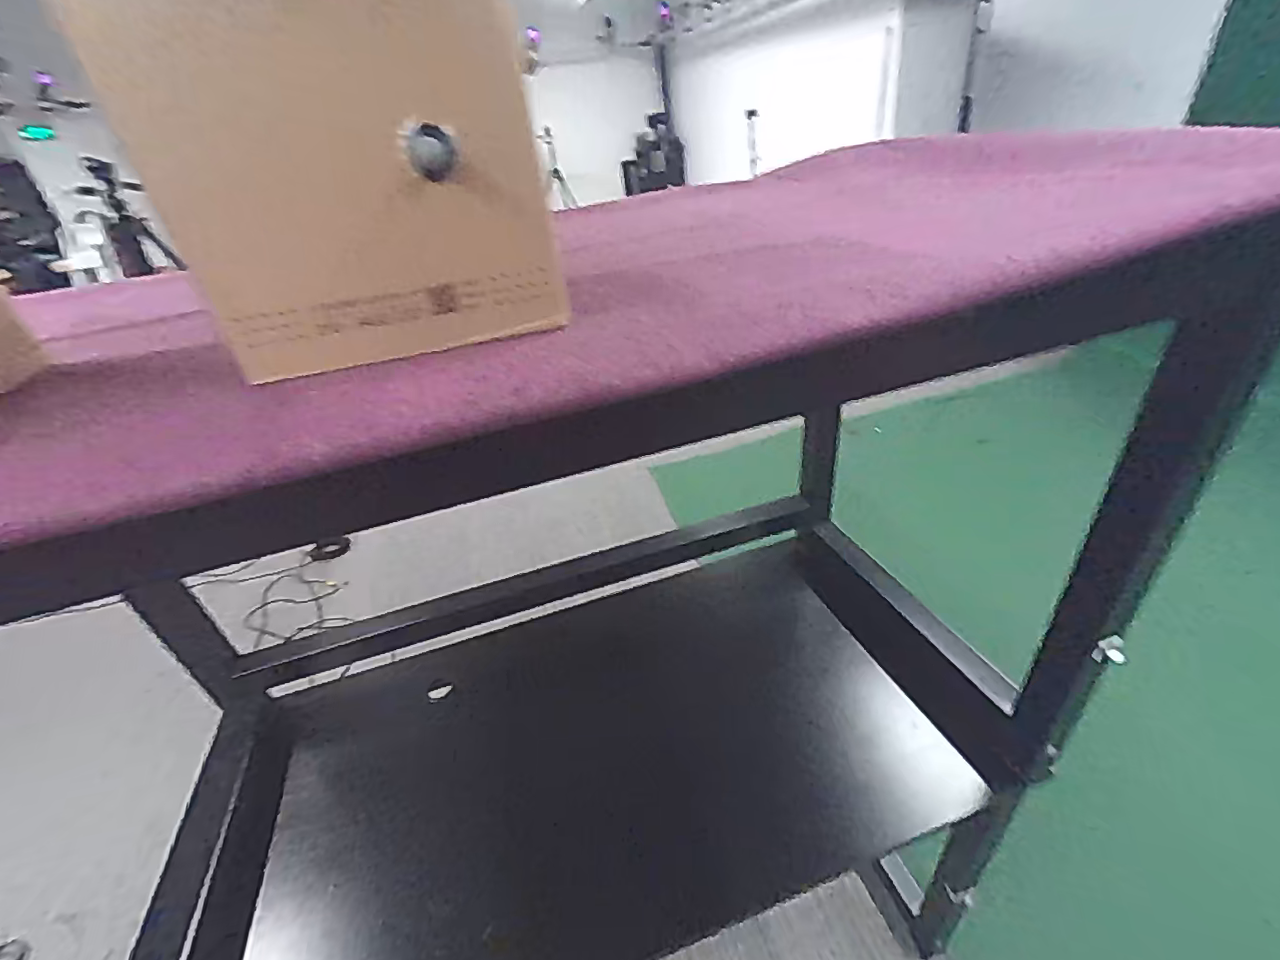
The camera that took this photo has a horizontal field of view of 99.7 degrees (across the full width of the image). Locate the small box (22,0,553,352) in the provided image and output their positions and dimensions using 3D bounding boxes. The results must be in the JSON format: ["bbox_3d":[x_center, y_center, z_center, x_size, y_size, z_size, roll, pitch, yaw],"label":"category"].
[{"bbox_3d":[-0.150,-0.179,0.301,0.168,0.176,0.179,-13,33,-9],"label":"small box"}]
